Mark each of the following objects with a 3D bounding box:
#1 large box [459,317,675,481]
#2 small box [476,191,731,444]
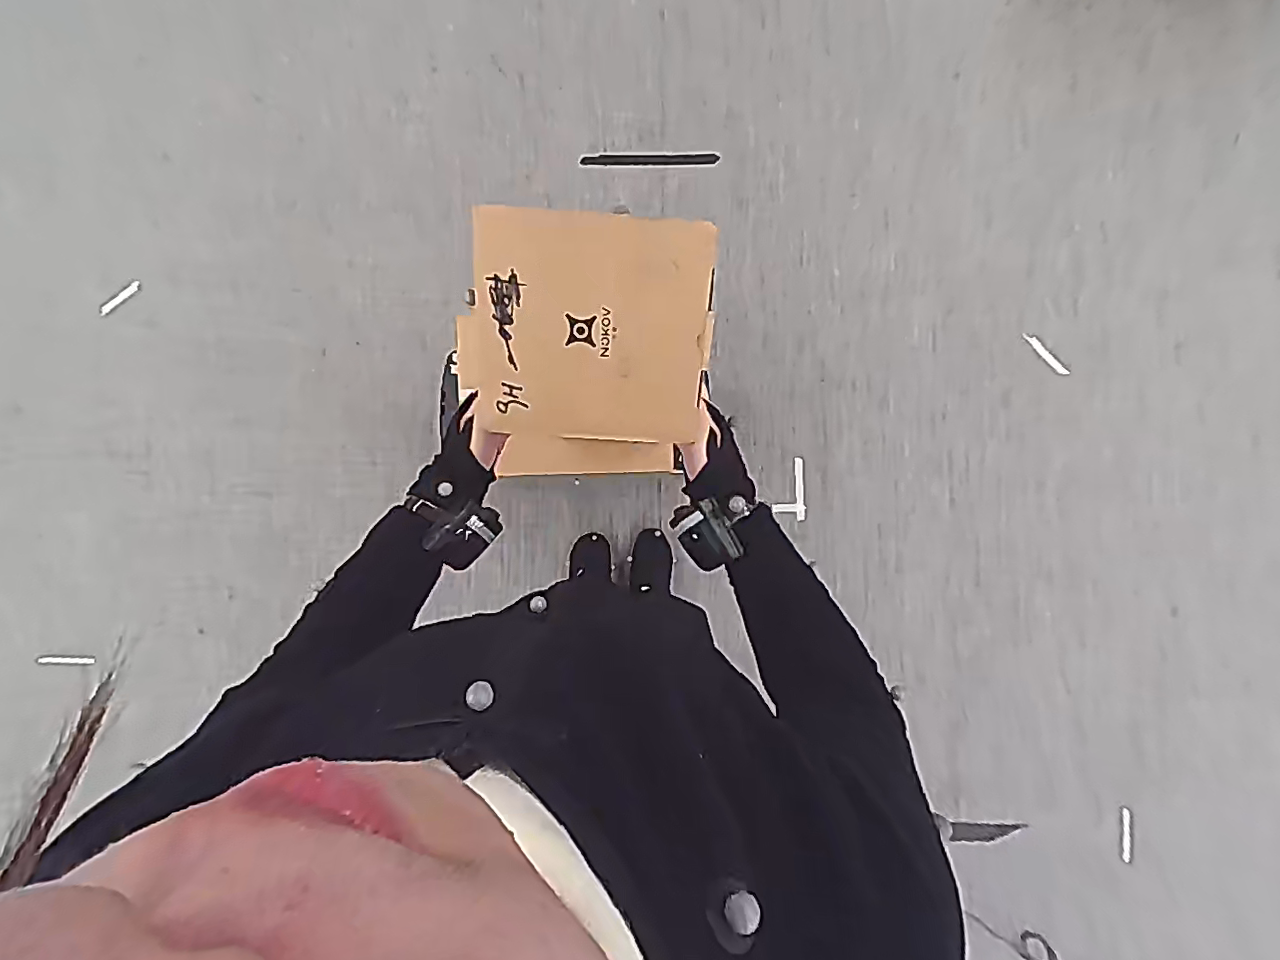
[{"bbox_3d":[-0.136,-0.160,1.165,0.408,0.320,0.320,-2,87,1],"label":"large box"},{"bbox_3d":[-0.034,-0.137,0.466,0.179,0.176,0.168,4,109,-4],"label":"small box"}]
